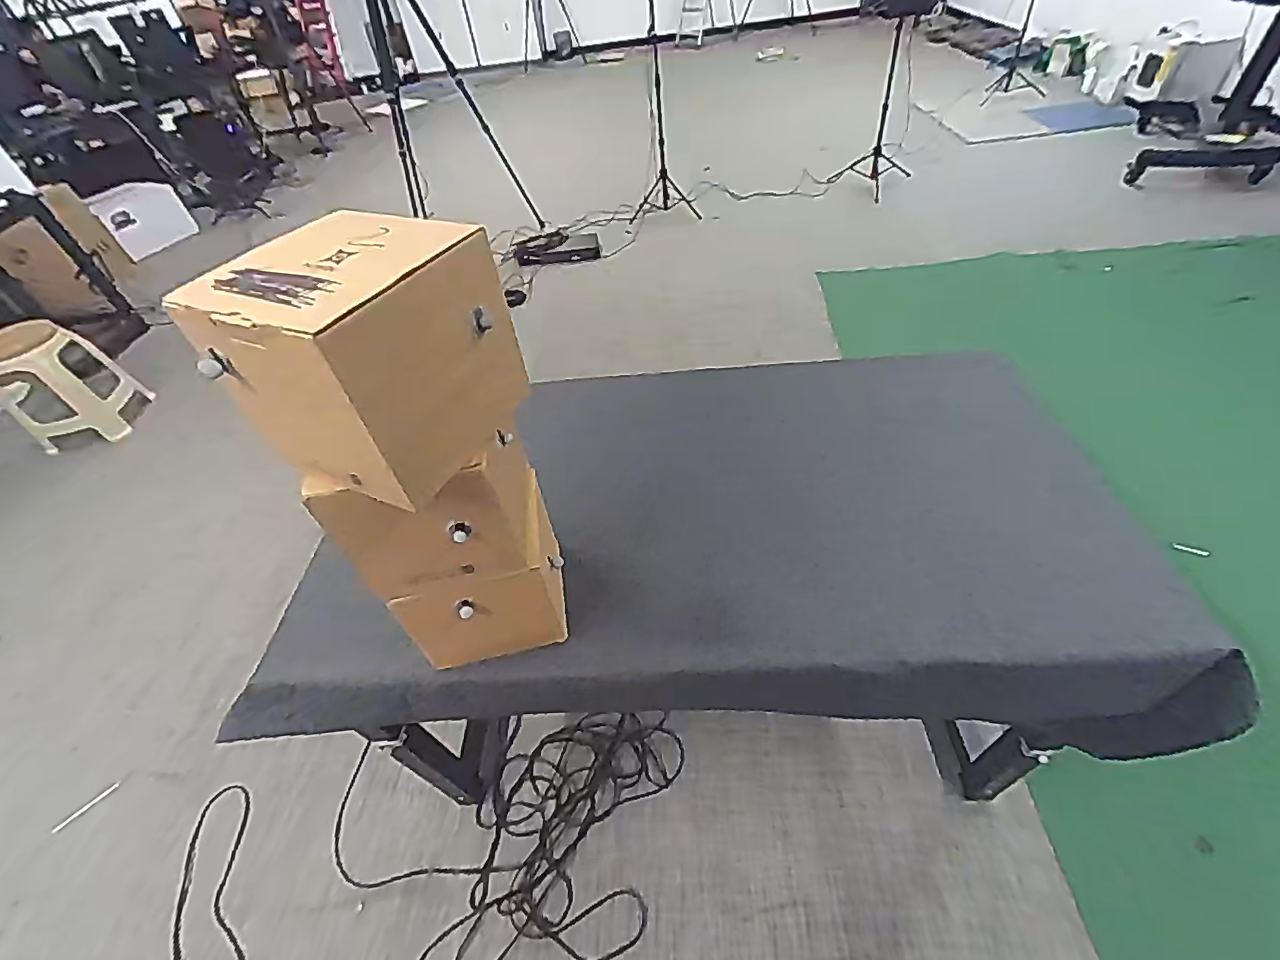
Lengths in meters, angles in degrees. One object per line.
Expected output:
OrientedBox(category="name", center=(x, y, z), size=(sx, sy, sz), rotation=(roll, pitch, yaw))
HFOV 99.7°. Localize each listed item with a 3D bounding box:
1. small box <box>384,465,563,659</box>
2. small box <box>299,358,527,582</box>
OrientedBox(category="small box", center=(-0.200, 0.109, 0.704), size=(0.179, 0.176, 0.168), rotation=(-12, 46, -3))
OrientedBox(category="small box", center=(-0.223, -0.005, 0.590), size=(0.168, 0.176, 0.179), rotation=(-9, 45, -2))
